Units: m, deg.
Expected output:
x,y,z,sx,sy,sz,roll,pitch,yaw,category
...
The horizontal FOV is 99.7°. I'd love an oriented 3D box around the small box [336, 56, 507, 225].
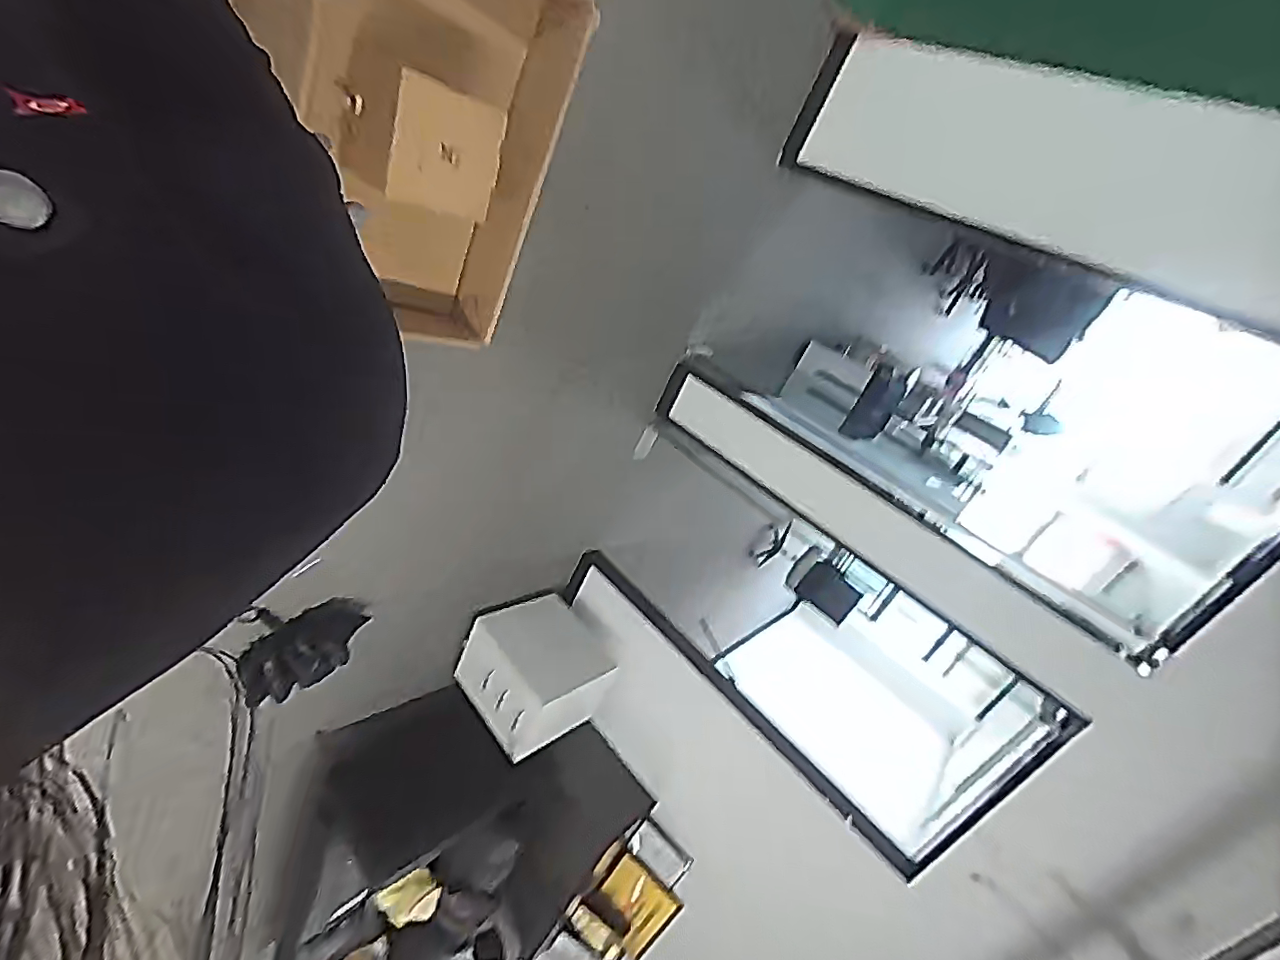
x,y,z,sx,sy,sz,roll,pitch,yaw,category
-0.346,-0.531,0.853,0.179,0.176,0.168,-11,132,-50,small box
